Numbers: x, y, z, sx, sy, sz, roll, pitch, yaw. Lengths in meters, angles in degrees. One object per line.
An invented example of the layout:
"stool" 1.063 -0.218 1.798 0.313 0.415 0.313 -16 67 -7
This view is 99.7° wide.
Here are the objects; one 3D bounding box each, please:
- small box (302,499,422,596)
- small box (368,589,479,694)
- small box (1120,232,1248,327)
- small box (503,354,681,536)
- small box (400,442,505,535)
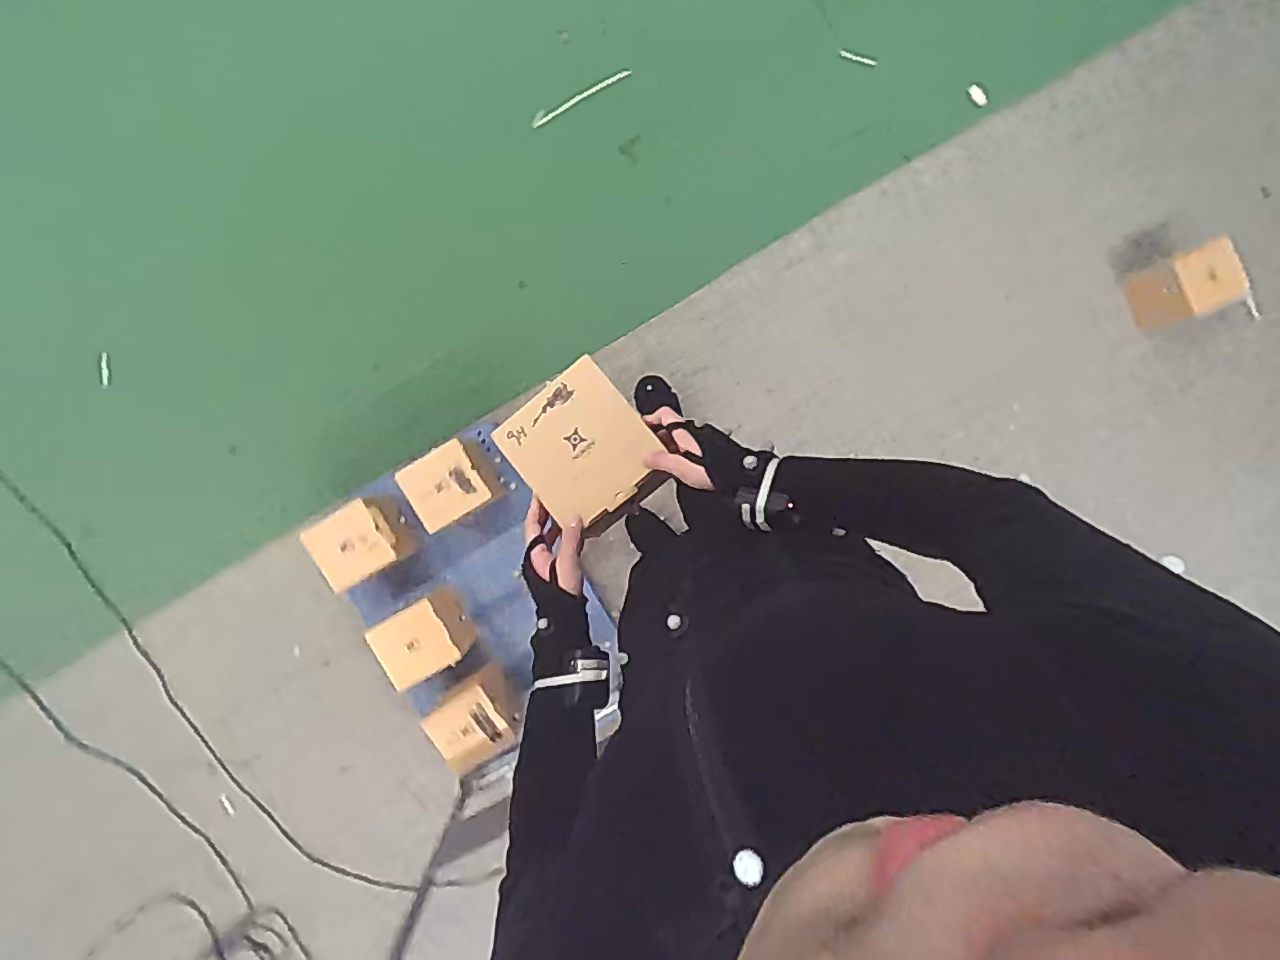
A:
"small box" -0.683 0.161 1.351 0.179 0.176 0.168 -31 93 0
"small box" -0.536 0.399 1.365 0.179 0.176 0.168 -30 92 -1
"small box" 1.541 -0.565 1.545 0.168 0.176 0.179 -26 92 1
"small box" -0.053 -0.041 0.758 0.168 0.176 0.179 -37 83 2
"small box" -0.460 0.017 1.367 0.179 0.176 0.168 -31 92 1
